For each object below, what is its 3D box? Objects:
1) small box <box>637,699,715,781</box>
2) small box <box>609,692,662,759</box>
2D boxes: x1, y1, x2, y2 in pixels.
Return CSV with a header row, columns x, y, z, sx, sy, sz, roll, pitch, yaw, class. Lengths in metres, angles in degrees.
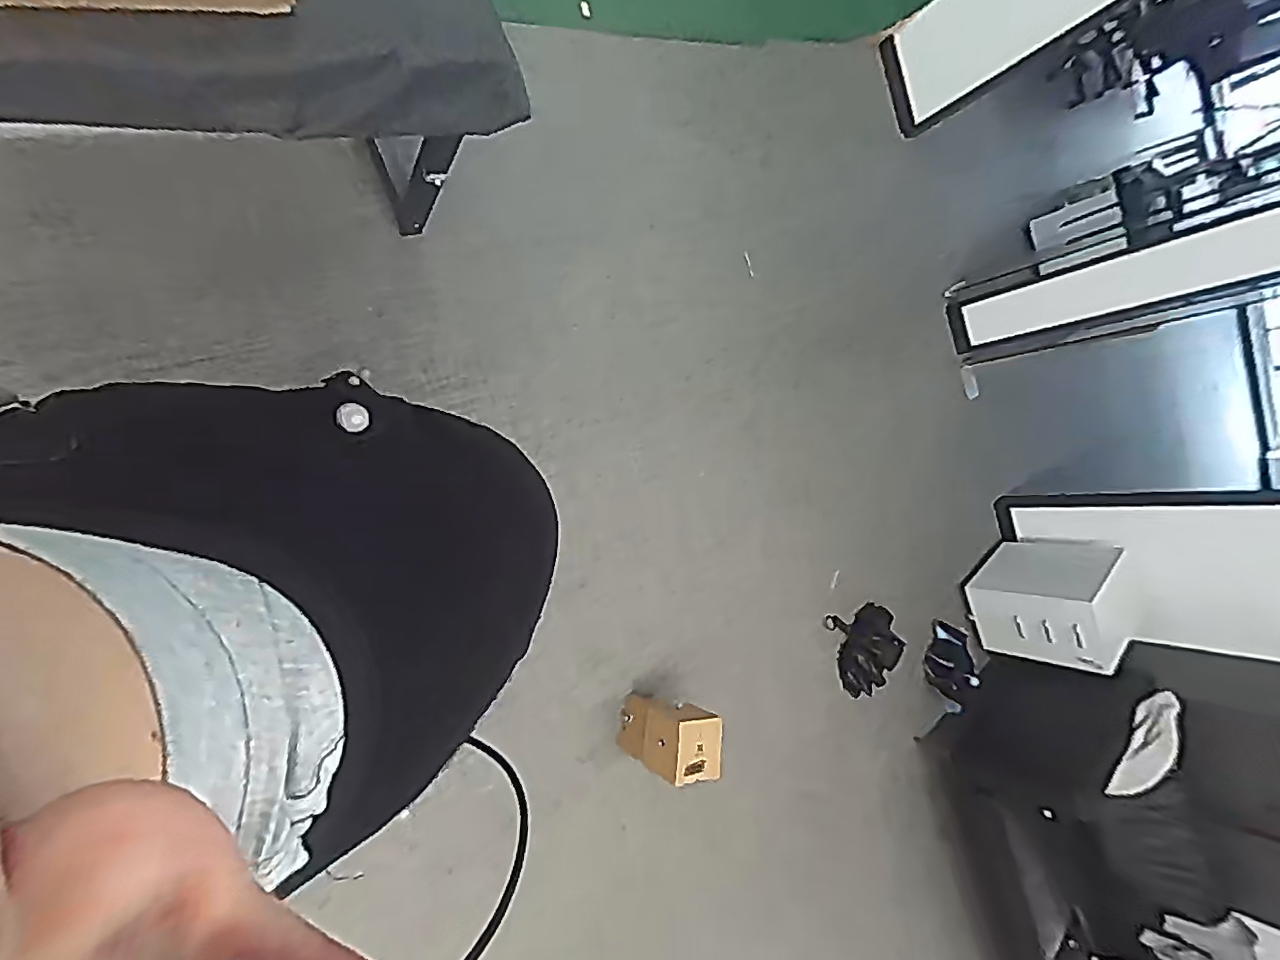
x,y,z,sx,sy,sz,roll,pitch,yaw,class
0.106,0.780,1.638,0.168,0.176,0.179,10,80,-33,small box
0.029,0.812,1.782,0.179,0.176,0.168,24,74,-29,small box
